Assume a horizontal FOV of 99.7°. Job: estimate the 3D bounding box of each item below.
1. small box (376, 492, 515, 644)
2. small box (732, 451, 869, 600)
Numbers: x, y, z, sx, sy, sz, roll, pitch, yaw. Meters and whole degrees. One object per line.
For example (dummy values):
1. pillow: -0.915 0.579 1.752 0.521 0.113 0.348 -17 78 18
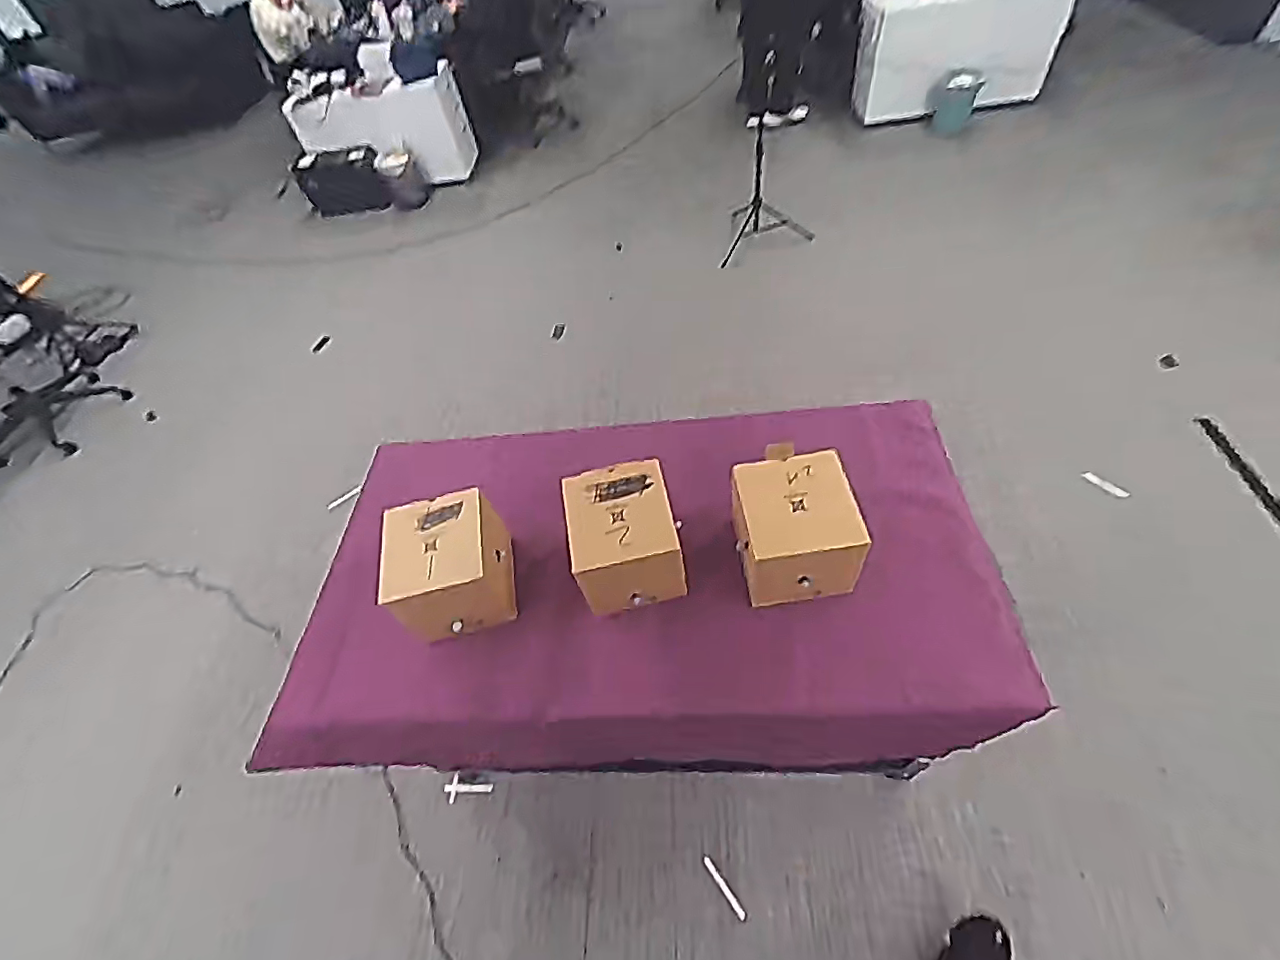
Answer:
1. small box: -0.321 0.152 0.920 0.168 0.176 0.179 -15 53 -1
2. small box: 0.246 0.081 0.871 0.168 0.176 0.179 -9 52 3
